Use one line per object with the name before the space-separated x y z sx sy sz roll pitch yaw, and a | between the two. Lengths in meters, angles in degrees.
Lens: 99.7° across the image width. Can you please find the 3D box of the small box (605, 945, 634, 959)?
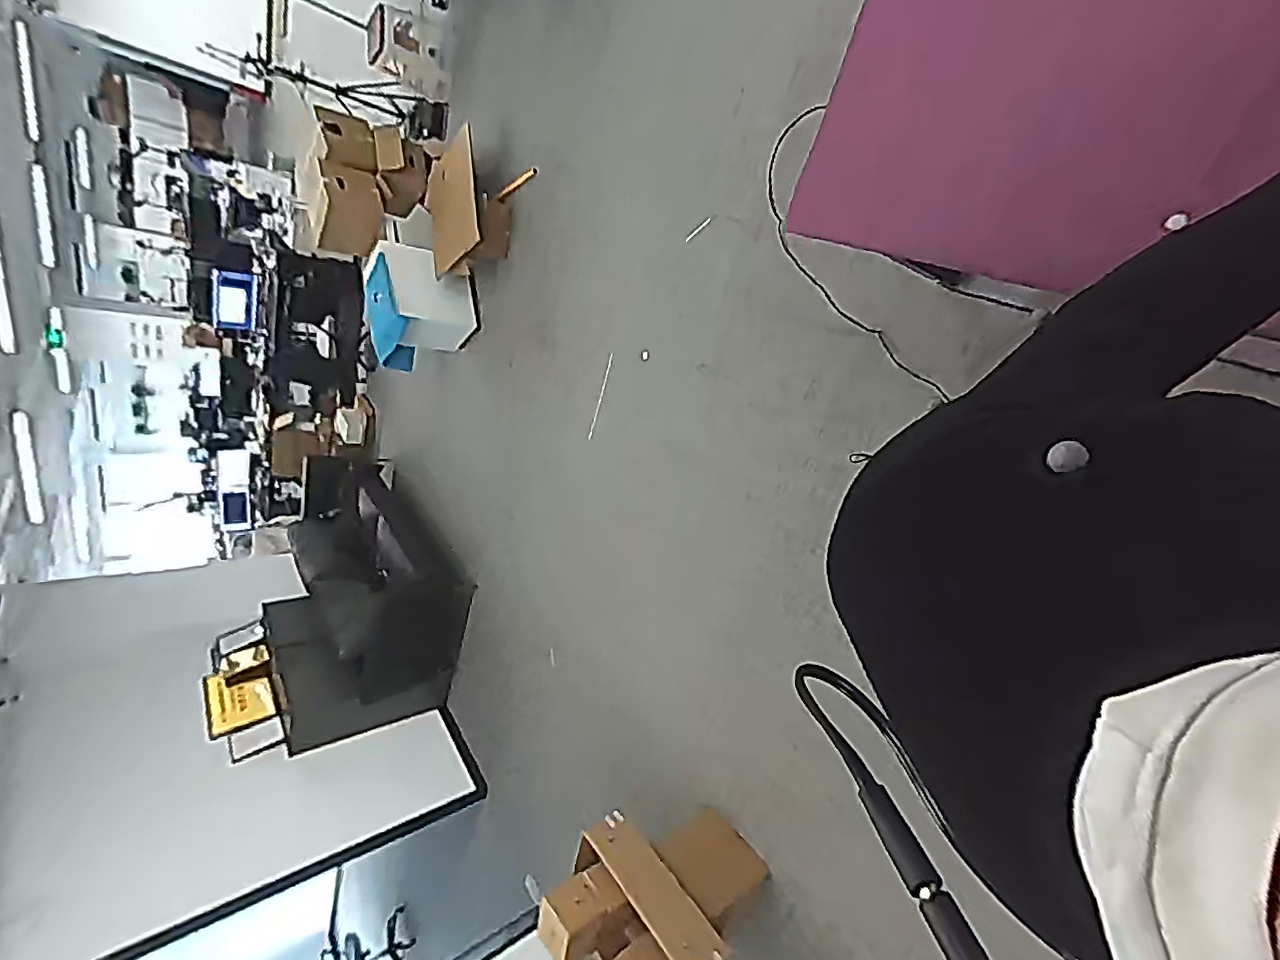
small box | -0.080 1.642 1.709 0.168 0.176 0.179 32 116 41

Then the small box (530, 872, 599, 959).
small box | -0.263 1.537 1.897 0.168 0.176 0.179 22 108 45
